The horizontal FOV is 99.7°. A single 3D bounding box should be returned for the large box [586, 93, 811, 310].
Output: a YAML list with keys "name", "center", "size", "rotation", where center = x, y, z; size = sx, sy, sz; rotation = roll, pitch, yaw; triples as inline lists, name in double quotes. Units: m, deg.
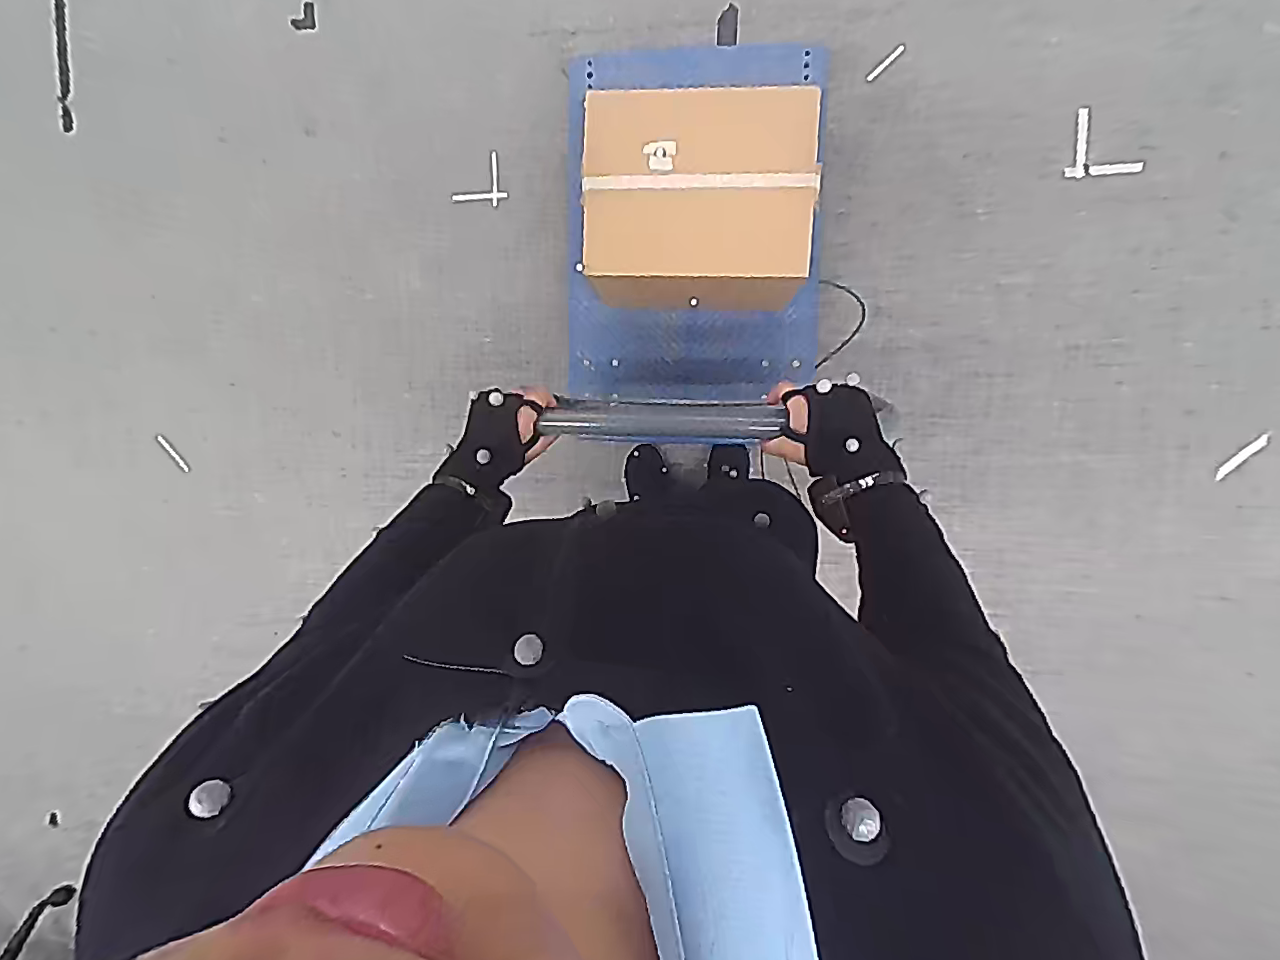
- name: "large box"
  center: [0.116, -0.537, 1.116]
  size: [0.408, 0.320, 0.320]
  rotation: [2, 96, 6]
